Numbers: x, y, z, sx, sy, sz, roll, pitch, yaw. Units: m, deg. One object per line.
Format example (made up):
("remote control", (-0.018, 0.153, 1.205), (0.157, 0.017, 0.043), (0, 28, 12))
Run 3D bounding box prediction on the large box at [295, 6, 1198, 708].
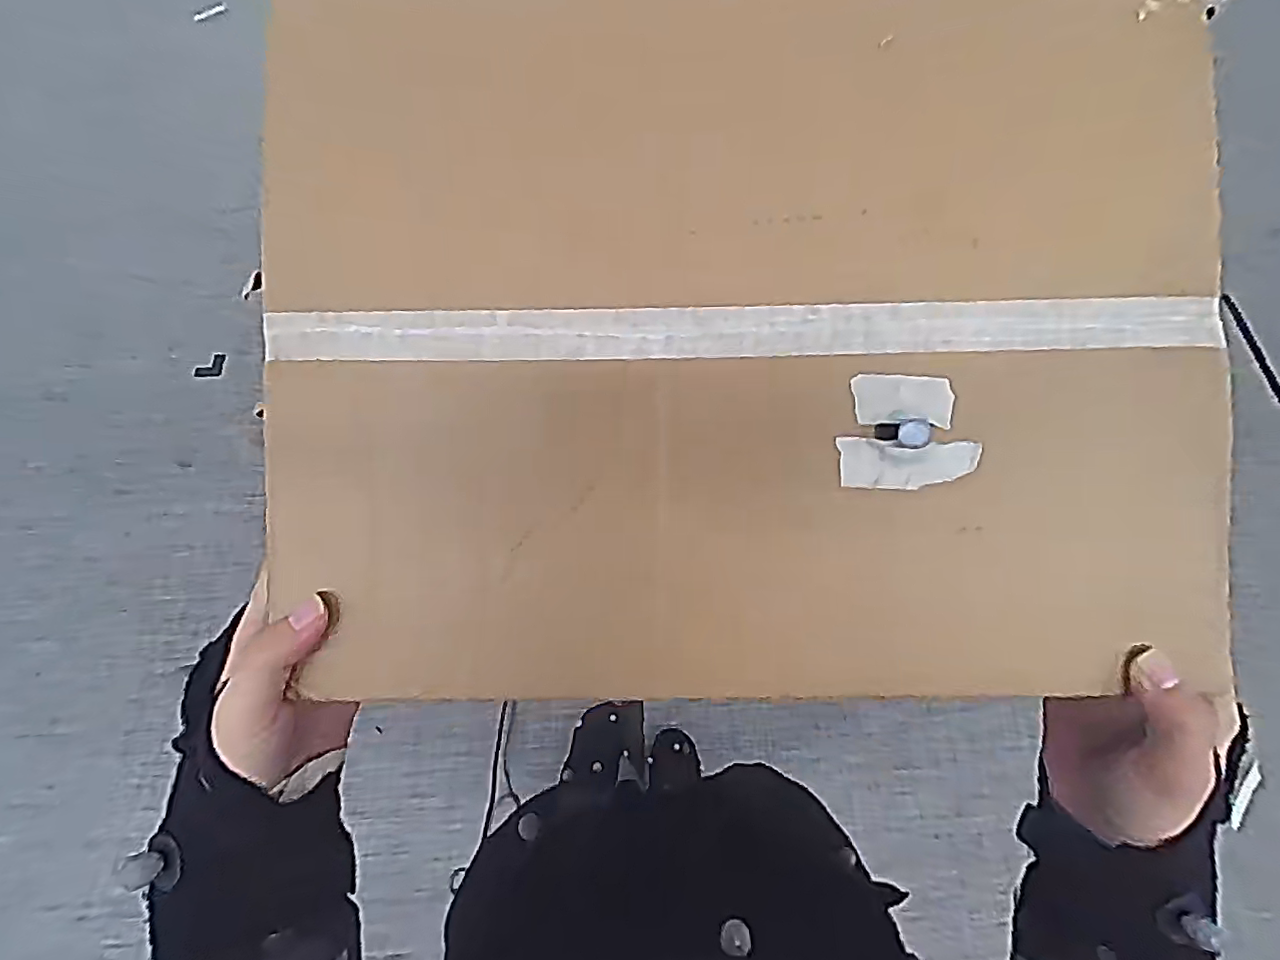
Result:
("large box", (0.043, -0.055, 0.391), (0.408, 0.320, 0.320), (-1, 90, -1))
